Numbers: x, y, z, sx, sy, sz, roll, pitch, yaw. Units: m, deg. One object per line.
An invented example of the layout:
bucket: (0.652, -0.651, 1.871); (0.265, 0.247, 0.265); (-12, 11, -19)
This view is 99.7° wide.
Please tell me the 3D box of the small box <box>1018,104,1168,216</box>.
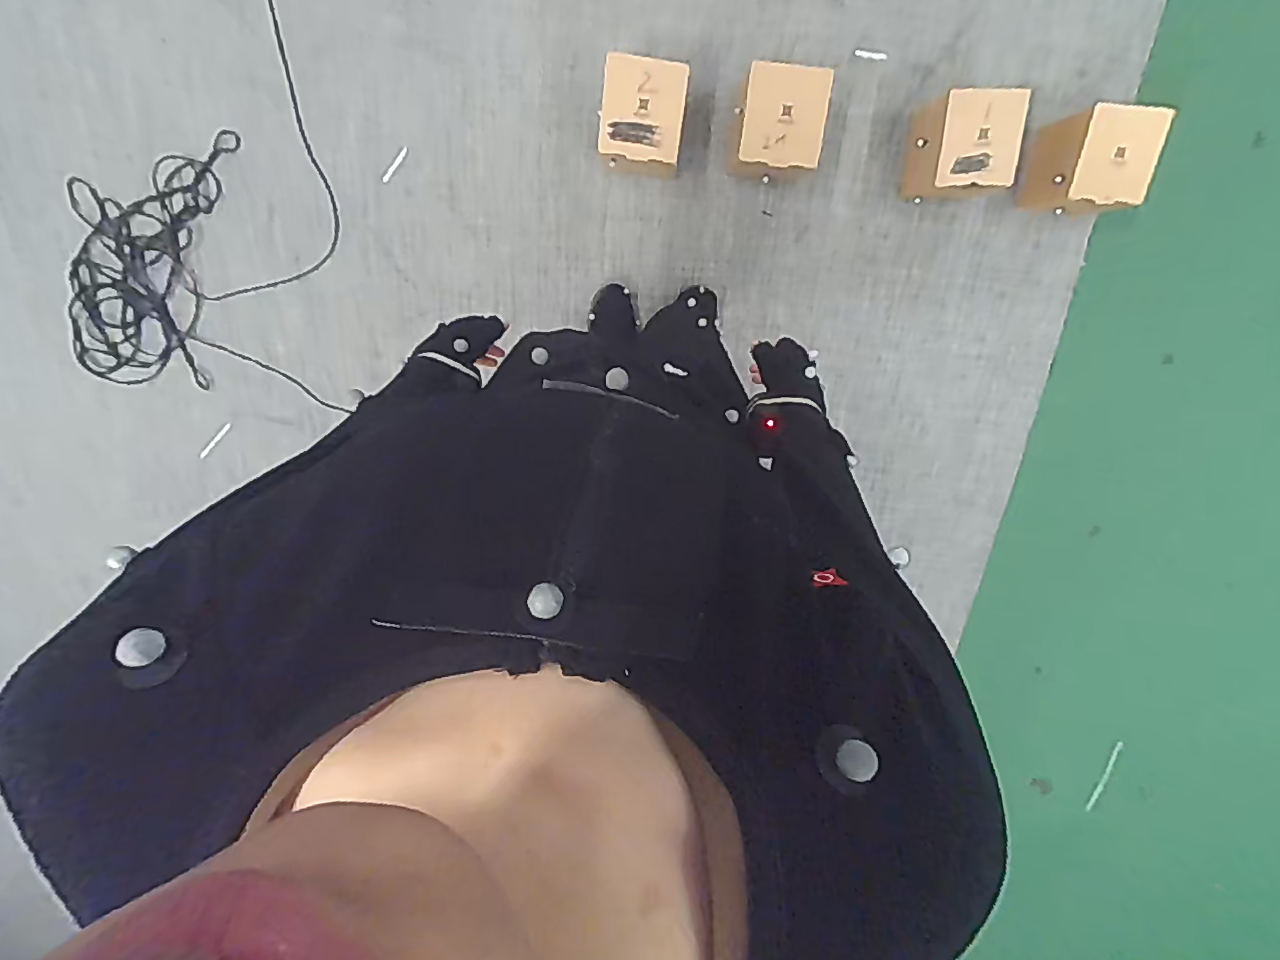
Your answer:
small box: (0.981, -0.694, 1.191); (0.168, 0.176, 0.179); (4, 110, -1)

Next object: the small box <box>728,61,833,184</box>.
small box: (0.289, -0.754, 1.156); (0.168, 0.176, 0.179); (5, 110, -1)

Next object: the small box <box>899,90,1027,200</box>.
small box: (0.689, -0.718, 1.177); (0.168, 0.176, 0.179); (0, 109, -1)
